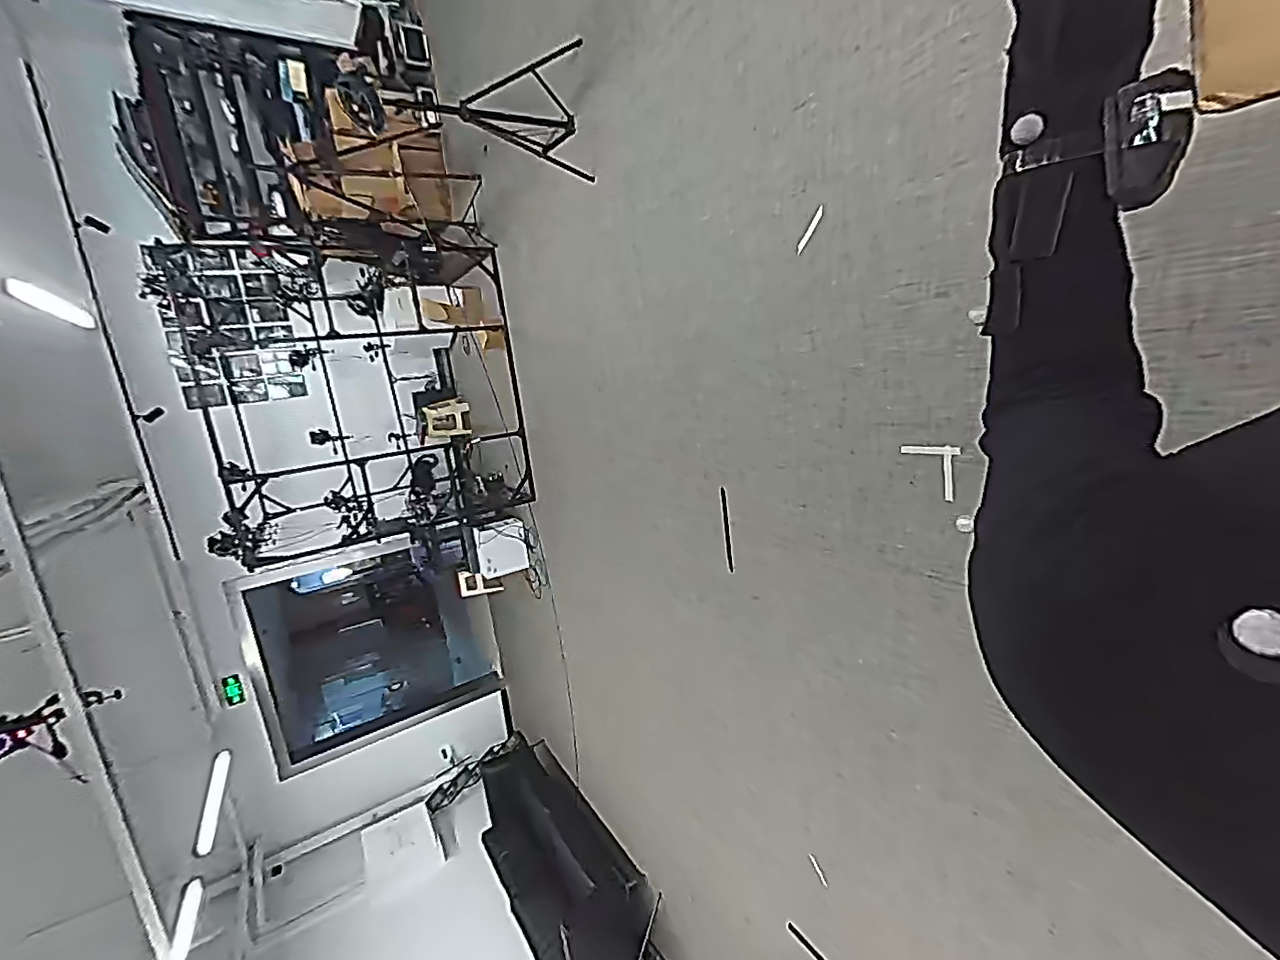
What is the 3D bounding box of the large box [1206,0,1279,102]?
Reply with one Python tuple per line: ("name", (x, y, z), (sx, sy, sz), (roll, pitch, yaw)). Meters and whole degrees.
("large box", (0.490, -0.395, 0.165), (0.408, 0.320, 0.320), (6, 119, 59))
